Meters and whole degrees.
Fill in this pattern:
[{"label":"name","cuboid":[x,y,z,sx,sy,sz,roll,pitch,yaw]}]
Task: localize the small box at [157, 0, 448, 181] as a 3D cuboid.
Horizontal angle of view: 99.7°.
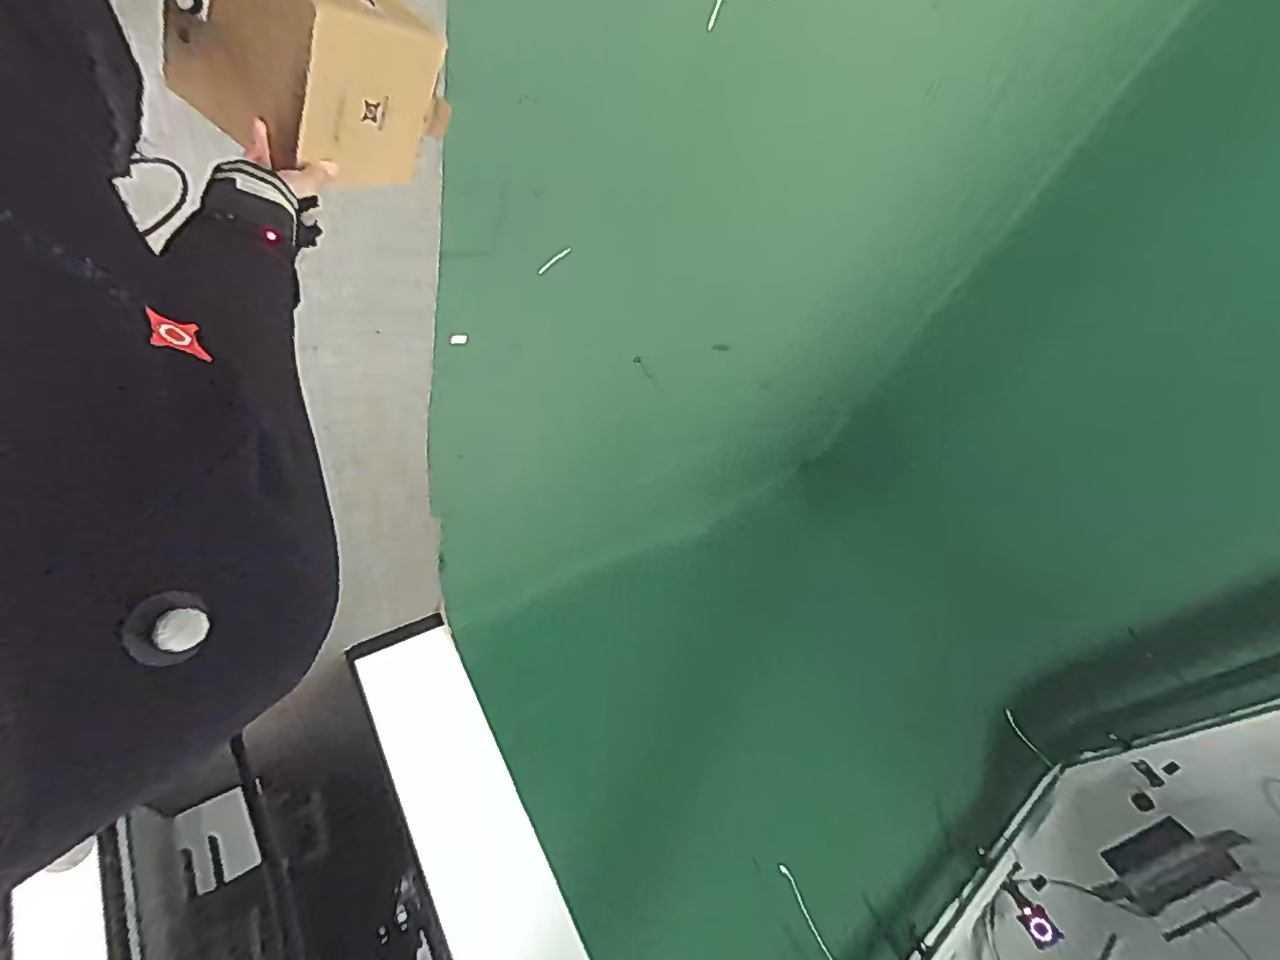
[{"label":"small box","cuboid":[-0.341,-0.441,0.560,0.168,0.176,0.179,-51,-178,36]}]
